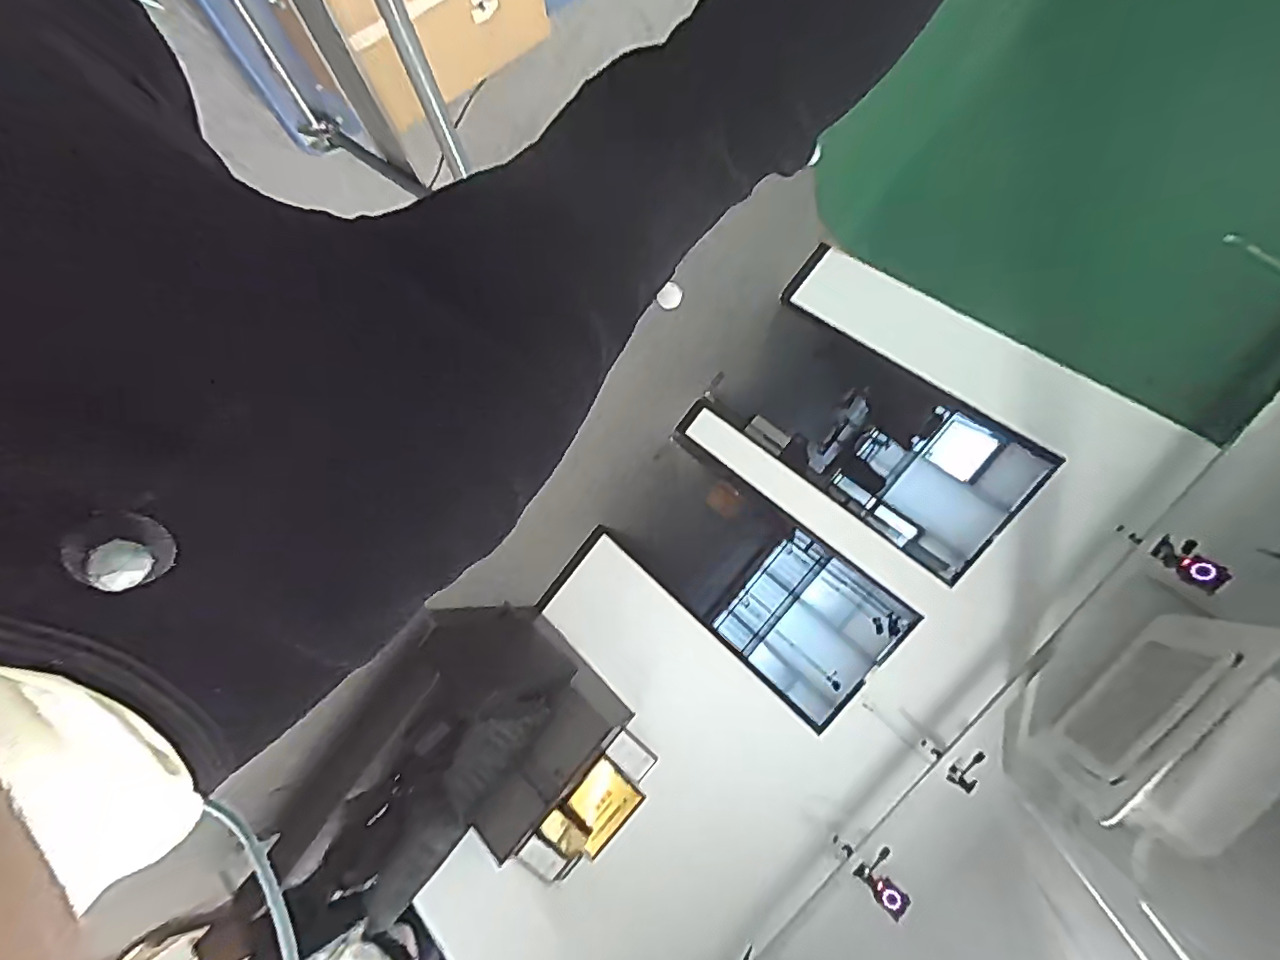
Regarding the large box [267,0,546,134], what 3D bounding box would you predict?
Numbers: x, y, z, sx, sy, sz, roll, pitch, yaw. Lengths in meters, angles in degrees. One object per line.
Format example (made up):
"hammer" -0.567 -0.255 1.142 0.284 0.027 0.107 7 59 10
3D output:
"large box" -0.453 -0.933 0.982 0.408 0.320 0.320 -44 157 -13
